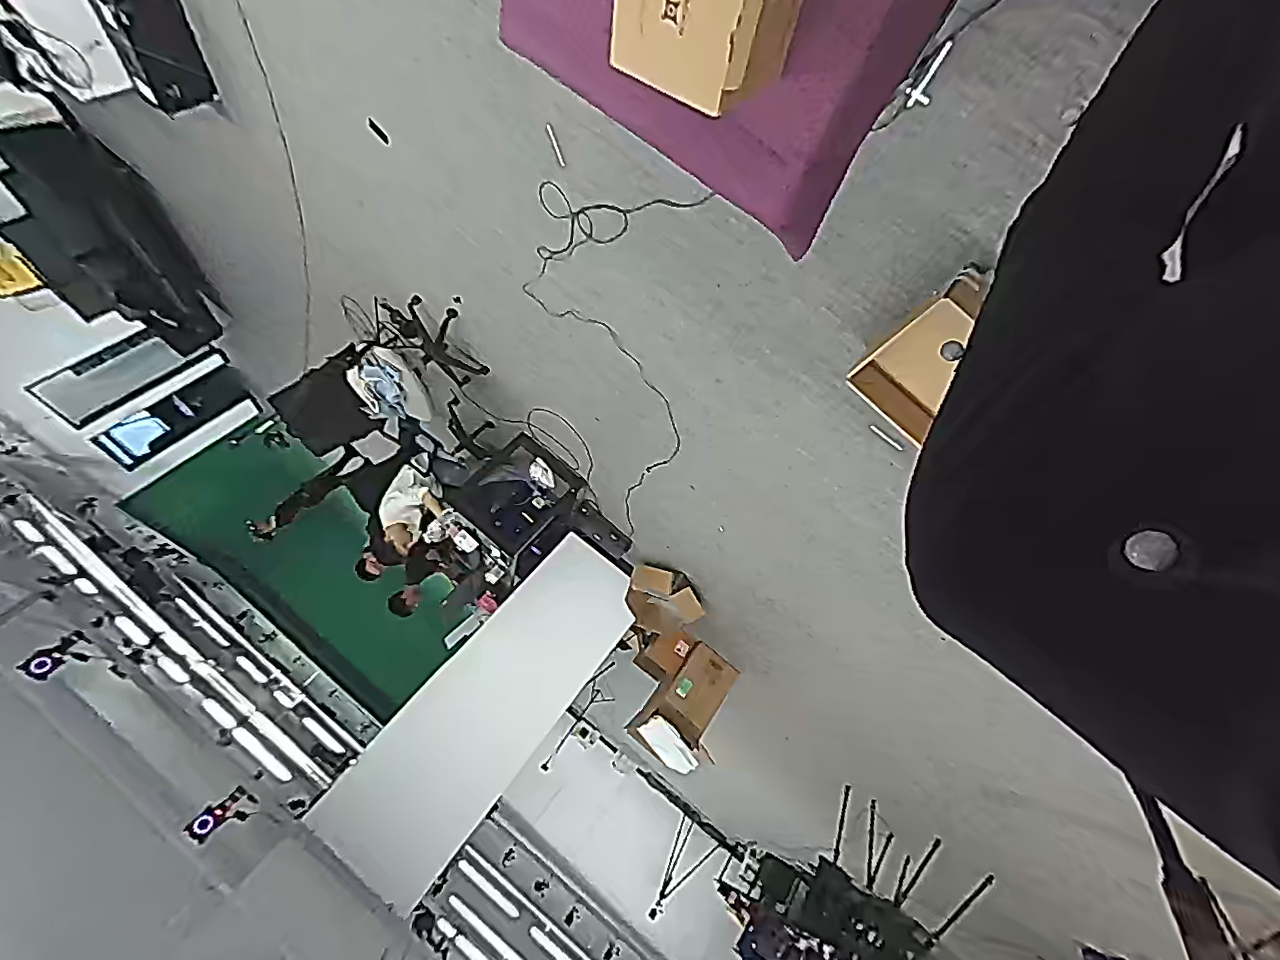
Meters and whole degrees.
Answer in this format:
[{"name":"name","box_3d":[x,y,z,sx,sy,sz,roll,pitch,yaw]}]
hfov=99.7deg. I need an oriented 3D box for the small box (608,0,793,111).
[{"name":"small box","box_3d":[0.085,-0.600,0.663,0.179,0.176,0.168,35,150,13]}]
